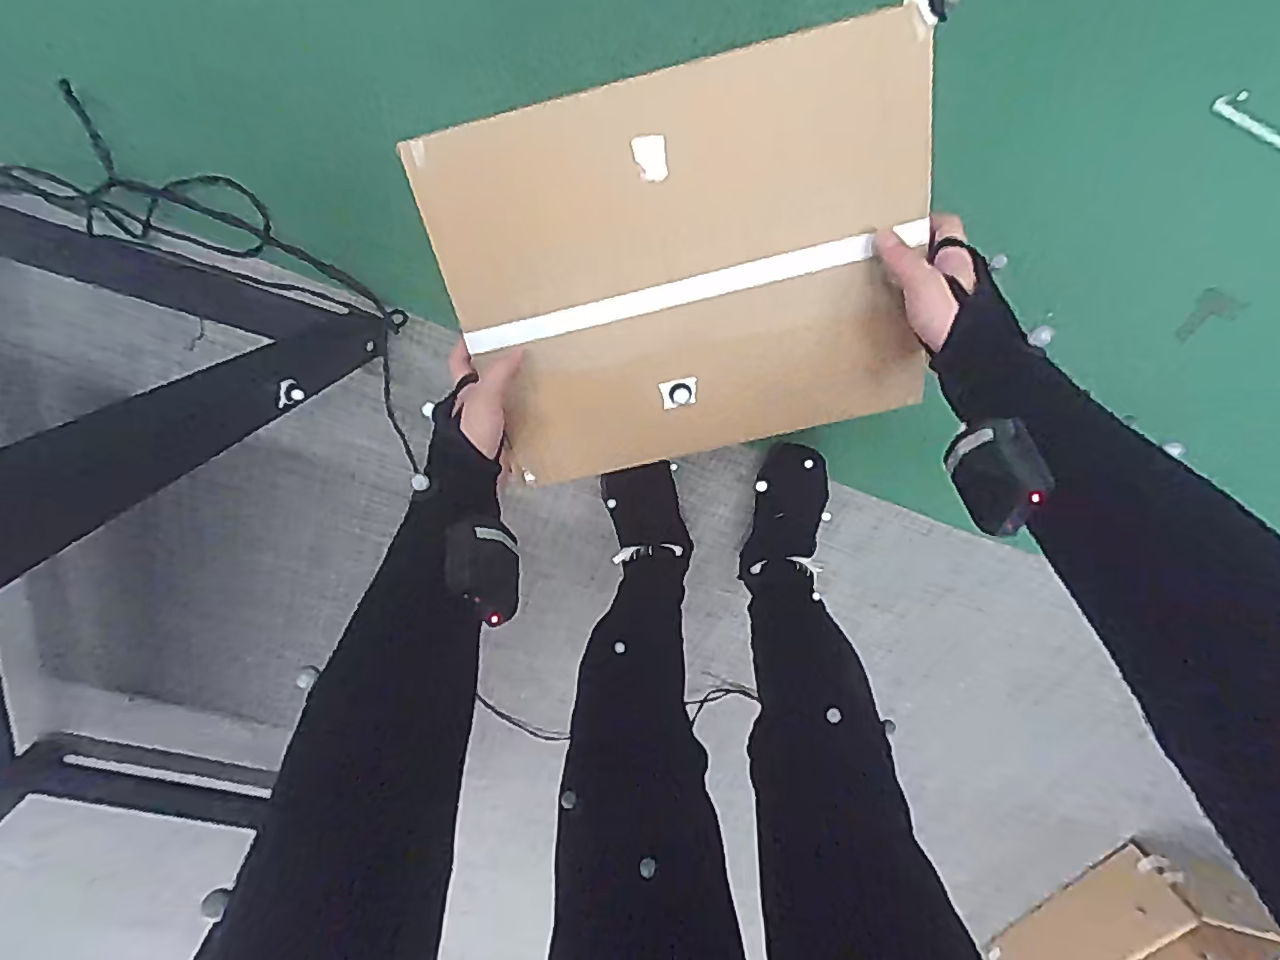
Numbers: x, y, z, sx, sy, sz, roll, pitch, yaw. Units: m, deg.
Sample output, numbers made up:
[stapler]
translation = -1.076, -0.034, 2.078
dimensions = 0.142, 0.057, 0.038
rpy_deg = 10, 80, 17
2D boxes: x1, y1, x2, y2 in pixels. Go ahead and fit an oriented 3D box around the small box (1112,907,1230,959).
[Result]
[small box]
translation = 1.421, 1.264, 1.421
dimensions = 0.179, 0.176, 0.168
rpy_deg = 25, 116, -11
